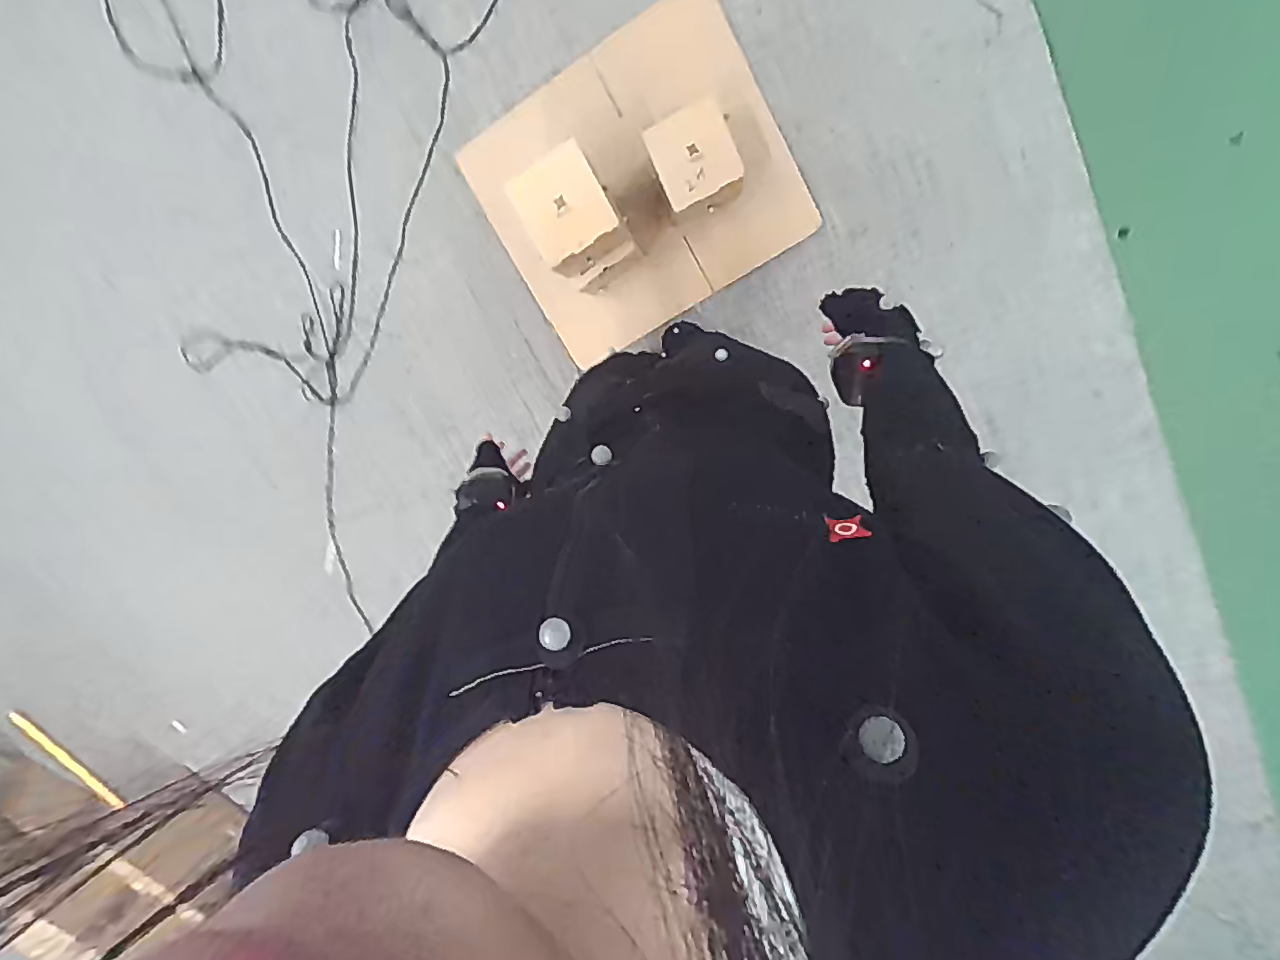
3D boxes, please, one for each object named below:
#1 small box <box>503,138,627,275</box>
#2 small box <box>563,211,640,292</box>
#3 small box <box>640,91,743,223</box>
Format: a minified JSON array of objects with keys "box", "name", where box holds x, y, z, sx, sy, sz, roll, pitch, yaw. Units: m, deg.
[{"box":[-0.144,-0.542,1.104,0.168,0.176,0.179,-28,101,13],"name":"small box"},{"box":[-0.116,-0.560,1.266,0.168,0.176,0.179,-31,100,14],"name":"small box"},{"box":[0.114,-0.704,1.202,0.168,0.176,0.179,-24,102,13],"name":"small box"}]
